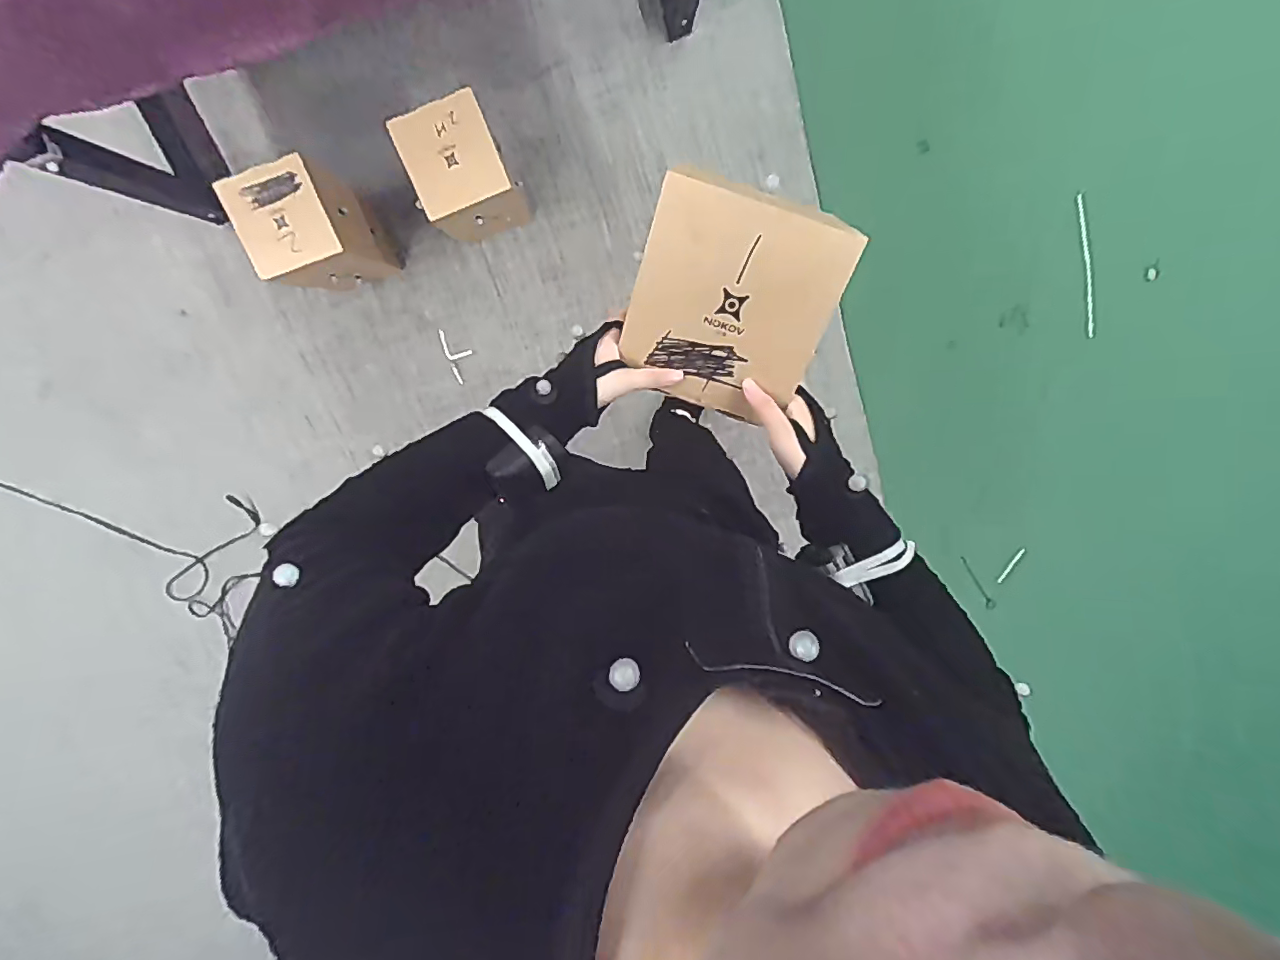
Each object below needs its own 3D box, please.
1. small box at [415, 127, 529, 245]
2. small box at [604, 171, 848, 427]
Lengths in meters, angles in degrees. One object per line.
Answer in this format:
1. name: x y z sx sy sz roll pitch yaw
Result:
1. small box: -0.367 -0.648 1.216 0.179 0.176 0.168 -20 105 2
2. small box: 0.077 -0.184 0.533 0.168 0.176 0.179 18 121 -2
